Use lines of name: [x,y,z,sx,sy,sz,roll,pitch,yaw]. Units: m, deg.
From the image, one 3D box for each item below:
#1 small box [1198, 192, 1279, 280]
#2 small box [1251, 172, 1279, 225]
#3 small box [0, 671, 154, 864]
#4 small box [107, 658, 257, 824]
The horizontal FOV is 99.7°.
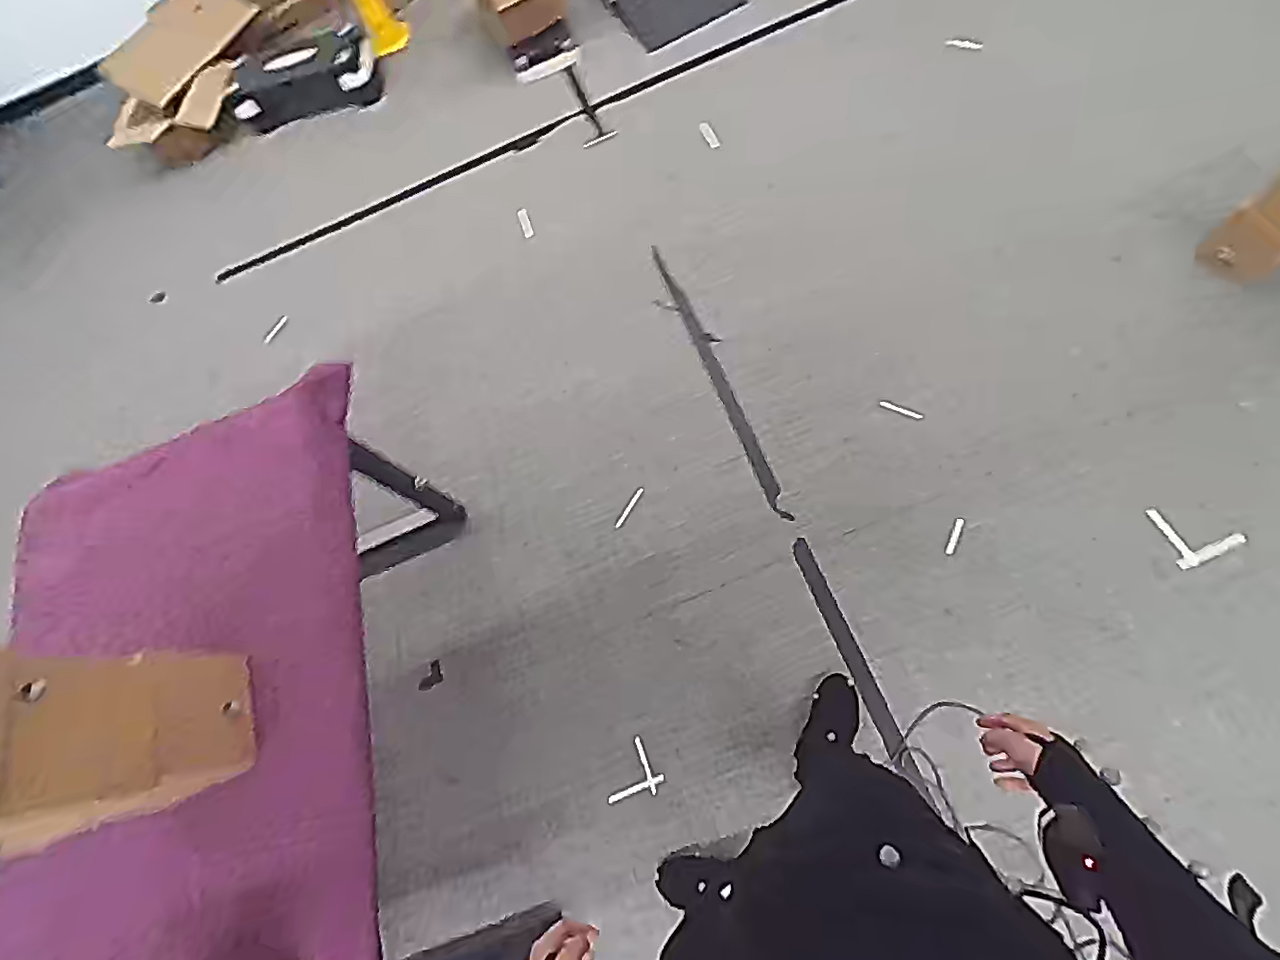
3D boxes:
small box: [1.750,-0.699,1.508,0.179,0.176,0.168,-27,67,1]
small box: [1.728,-0.747,1.352,0.168,0.176,0.179,-27,67,0]
small box: [-0.718,0.336,0.631,0.168,0.176,0.179,-26,67,2]
small box: [-0.703,0.380,0.789,0.168,0.176,0.179,-26,66,2]
